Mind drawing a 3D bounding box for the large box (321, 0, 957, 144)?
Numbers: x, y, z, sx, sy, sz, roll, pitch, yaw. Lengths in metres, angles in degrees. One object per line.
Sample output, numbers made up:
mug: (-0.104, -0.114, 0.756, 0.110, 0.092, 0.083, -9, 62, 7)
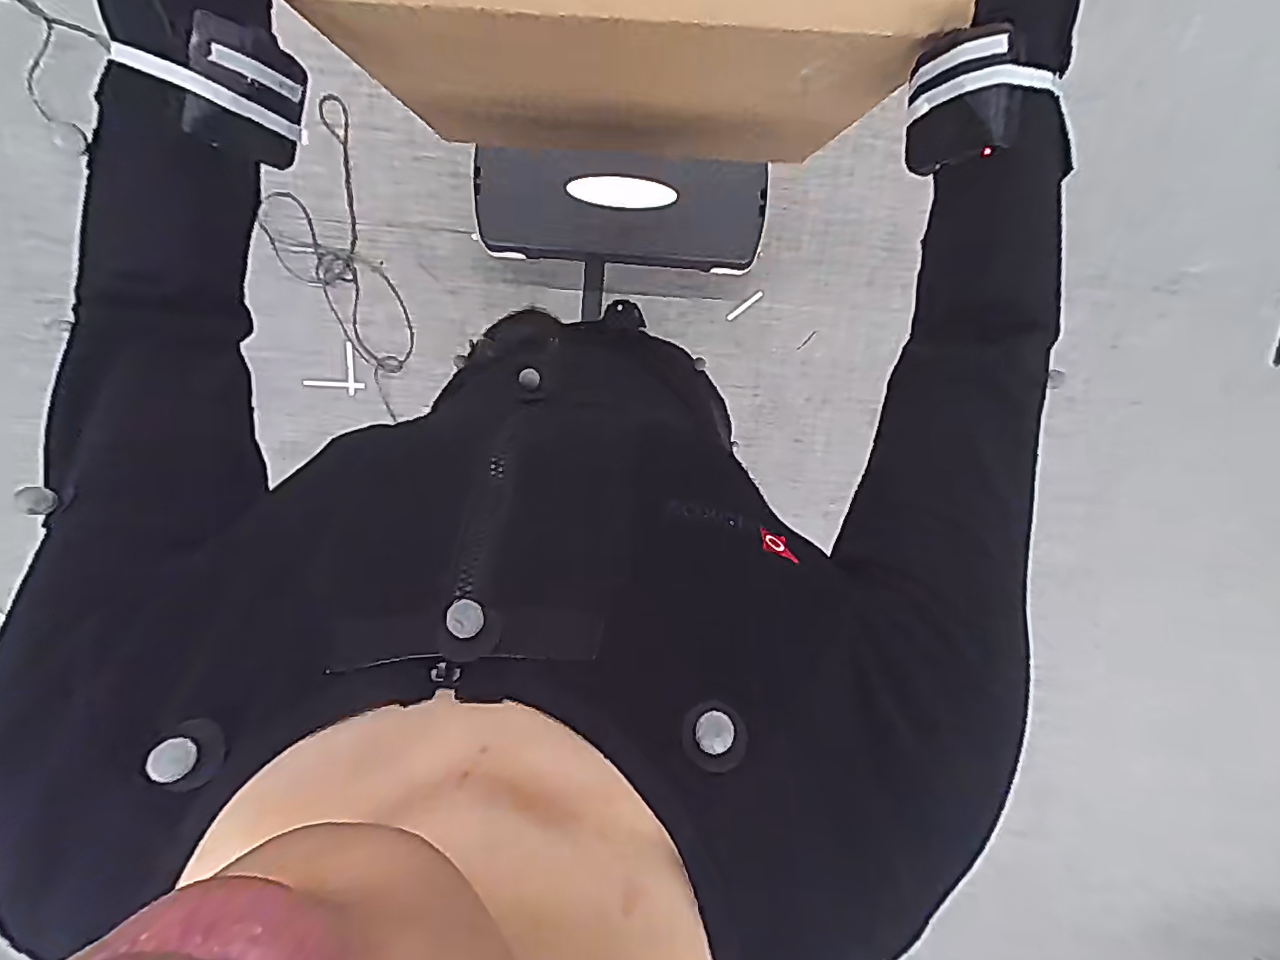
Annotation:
large box: (-0.007, -0.476, 0.412, 0.408, 0.320, 0.320, 2, 109, -2)
